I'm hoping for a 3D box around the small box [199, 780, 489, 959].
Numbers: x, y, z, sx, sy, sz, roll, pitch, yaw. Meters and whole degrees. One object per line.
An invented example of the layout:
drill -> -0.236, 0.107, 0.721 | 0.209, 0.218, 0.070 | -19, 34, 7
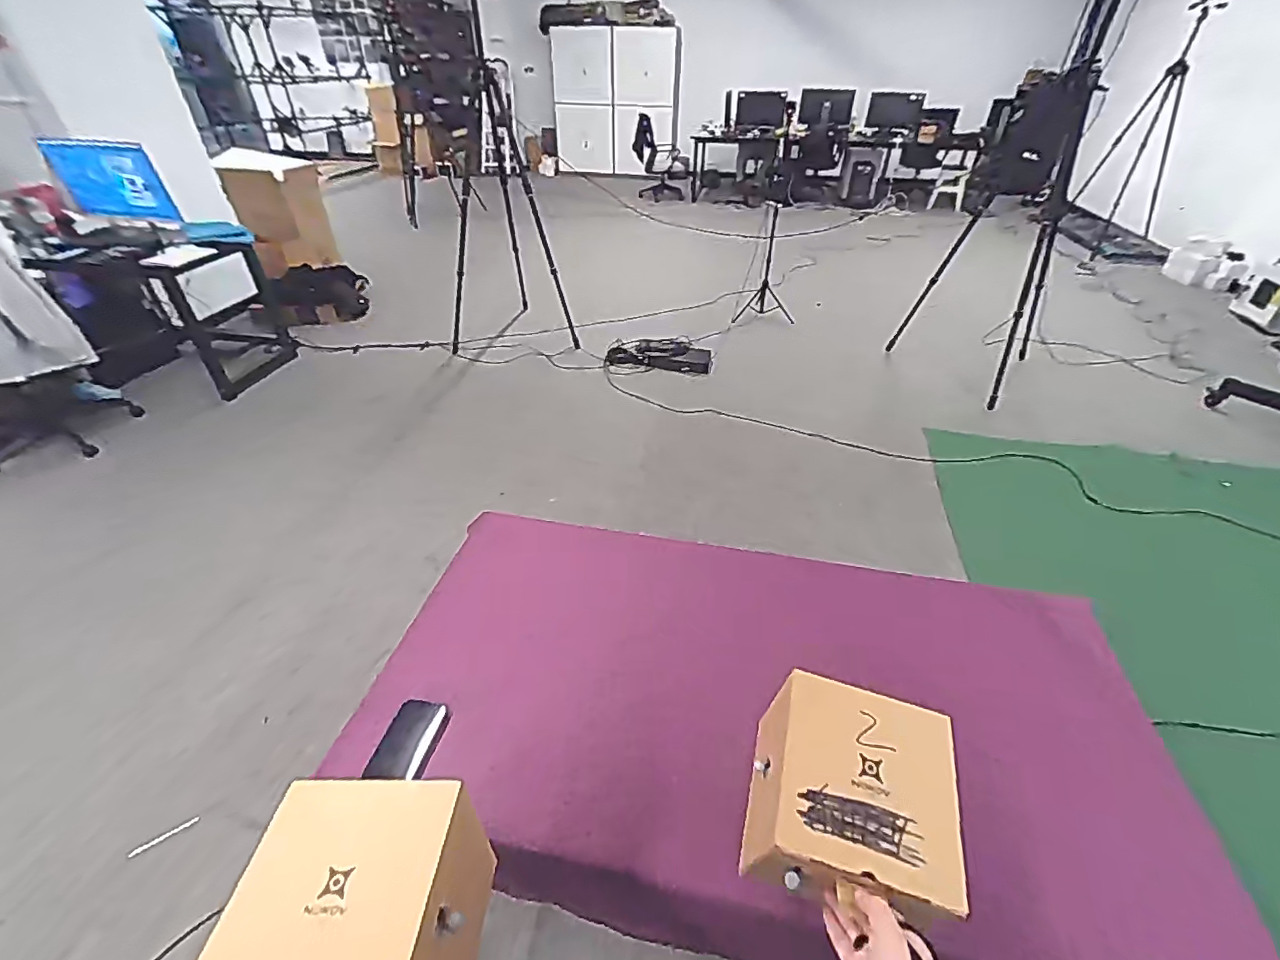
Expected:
small box -> -0.244, 0.400, 0.483 | 0.168, 0.176, 0.179 | 0, 35, 2
